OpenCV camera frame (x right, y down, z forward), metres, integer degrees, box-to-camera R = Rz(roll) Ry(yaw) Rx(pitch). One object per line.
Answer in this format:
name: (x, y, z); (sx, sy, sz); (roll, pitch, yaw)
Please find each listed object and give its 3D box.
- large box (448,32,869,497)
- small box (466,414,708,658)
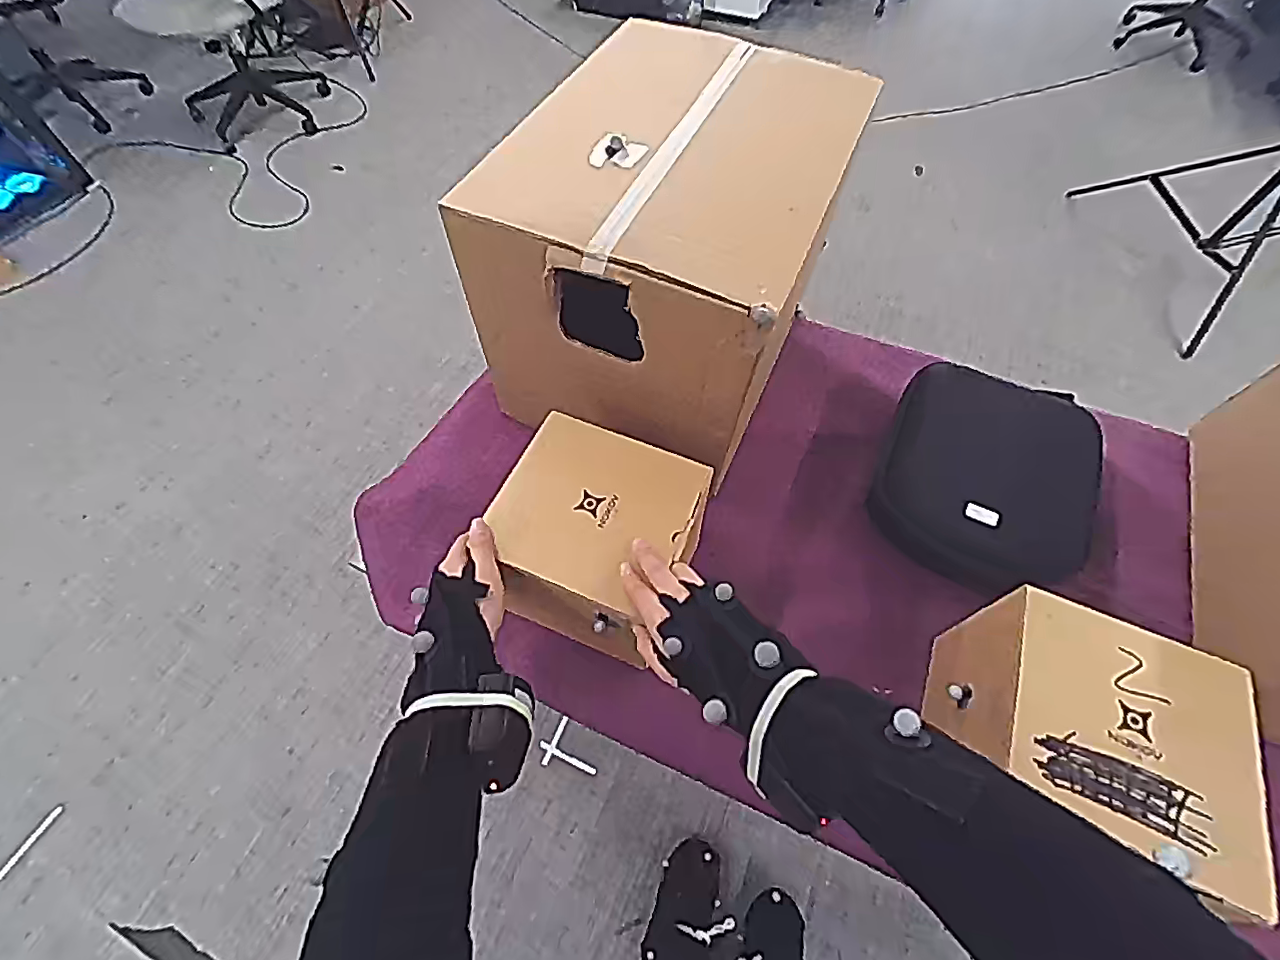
large box: (0.038, -0.256, 0.672); (0.320, 0.320, 0.408); (21, 64, 10)
small box: (-0.046, 0.065, 0.563); (0.179, 0.176, 0.168); (20, 60, 10)
